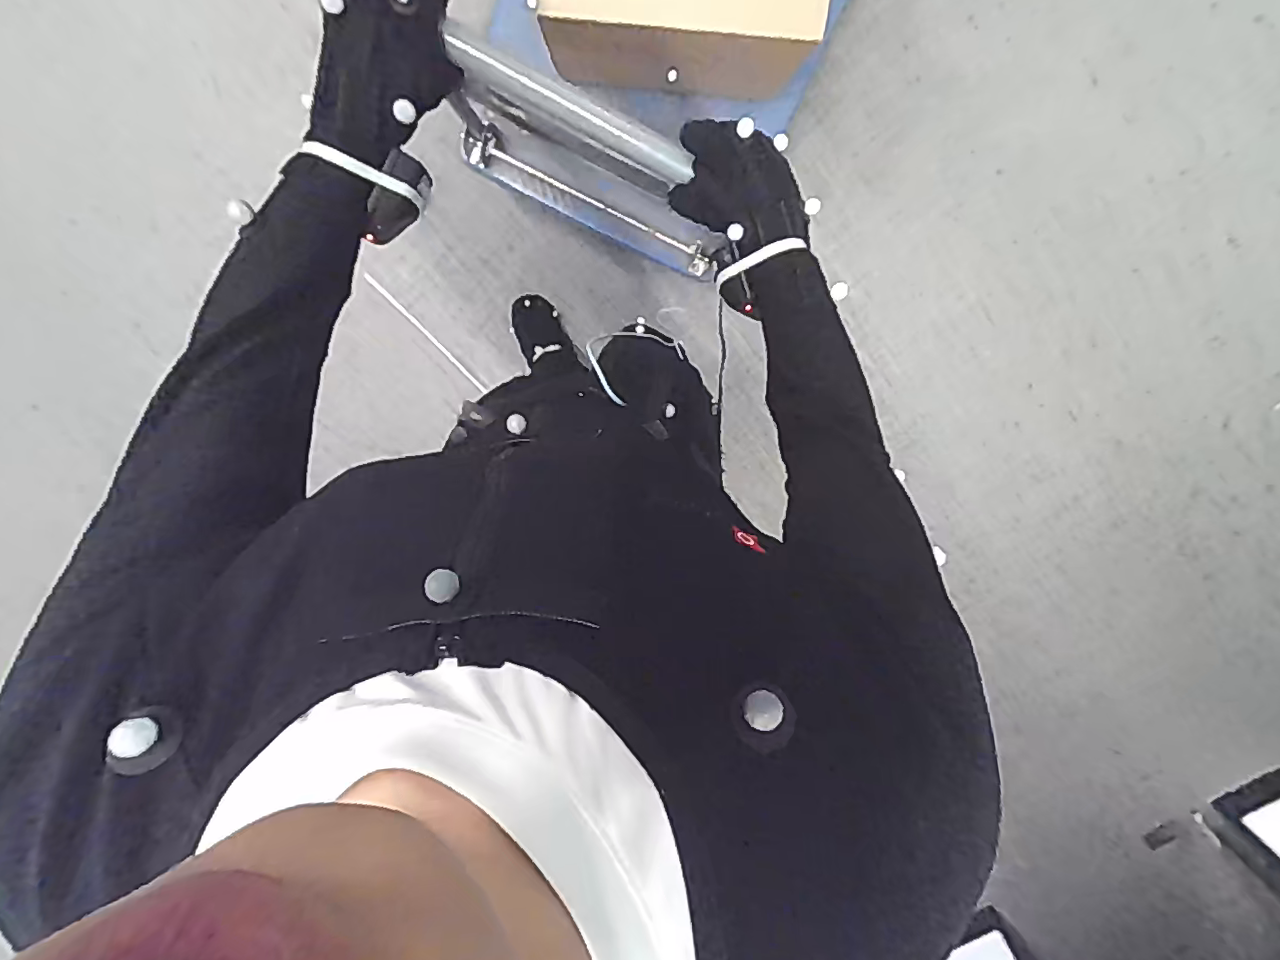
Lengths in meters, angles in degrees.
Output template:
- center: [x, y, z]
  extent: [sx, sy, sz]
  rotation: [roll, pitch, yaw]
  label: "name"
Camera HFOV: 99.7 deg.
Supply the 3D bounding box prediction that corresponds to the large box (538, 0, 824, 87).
- center: [0.065, -0.840, 0.837]
  extent: [0.408, 0.320, 0.320]
  rotation: [3, 112, -2]
  label: "large box"
